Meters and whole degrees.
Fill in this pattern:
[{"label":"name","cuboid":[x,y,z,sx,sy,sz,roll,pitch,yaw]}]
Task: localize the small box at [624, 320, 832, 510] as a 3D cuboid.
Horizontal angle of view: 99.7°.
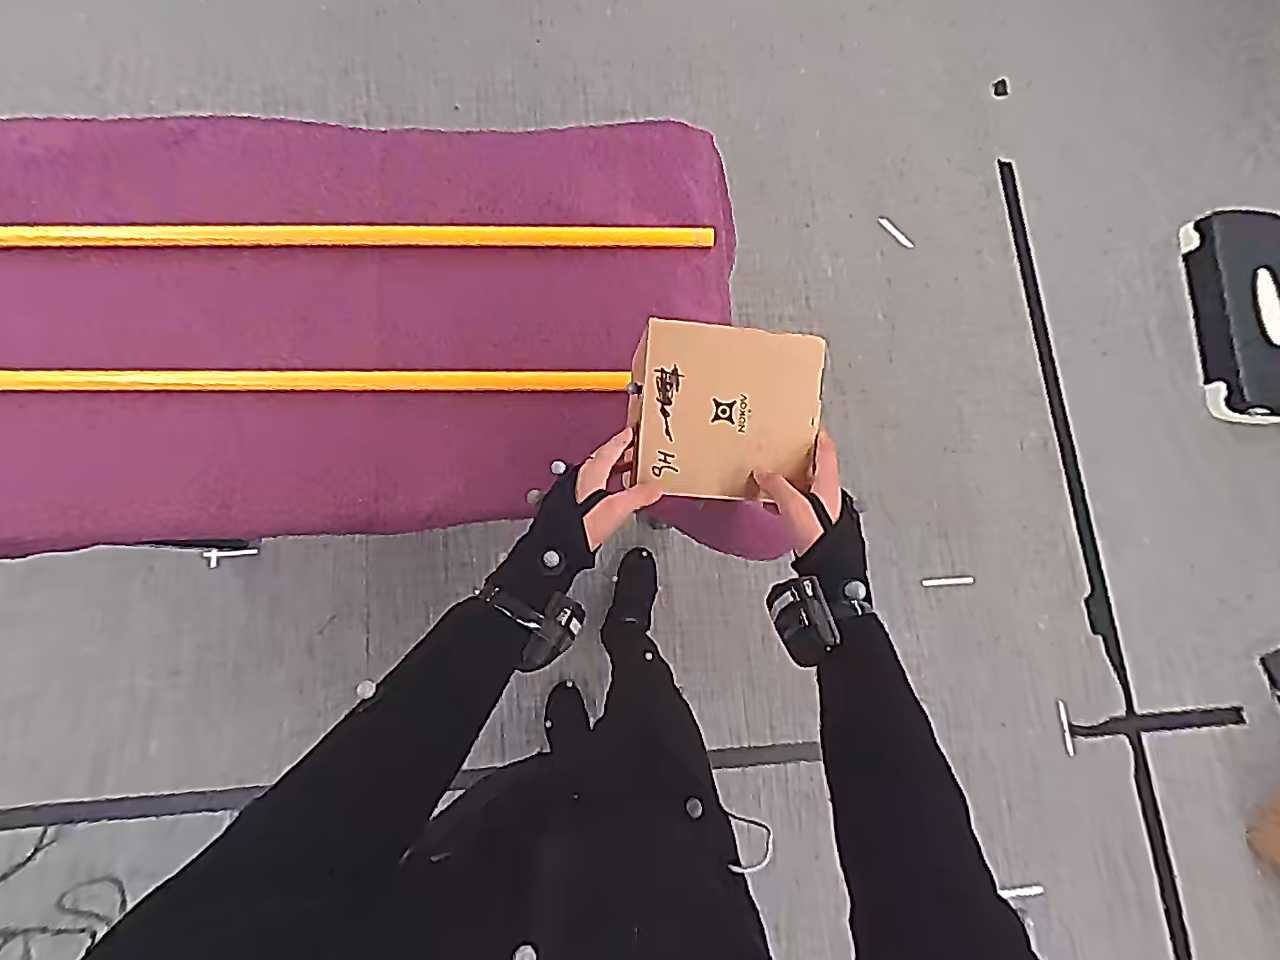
[{"label":"small box","cuboid":[0.083,-0.062,0.591,0.179,0.176,0.168,5,90,-6]}]
